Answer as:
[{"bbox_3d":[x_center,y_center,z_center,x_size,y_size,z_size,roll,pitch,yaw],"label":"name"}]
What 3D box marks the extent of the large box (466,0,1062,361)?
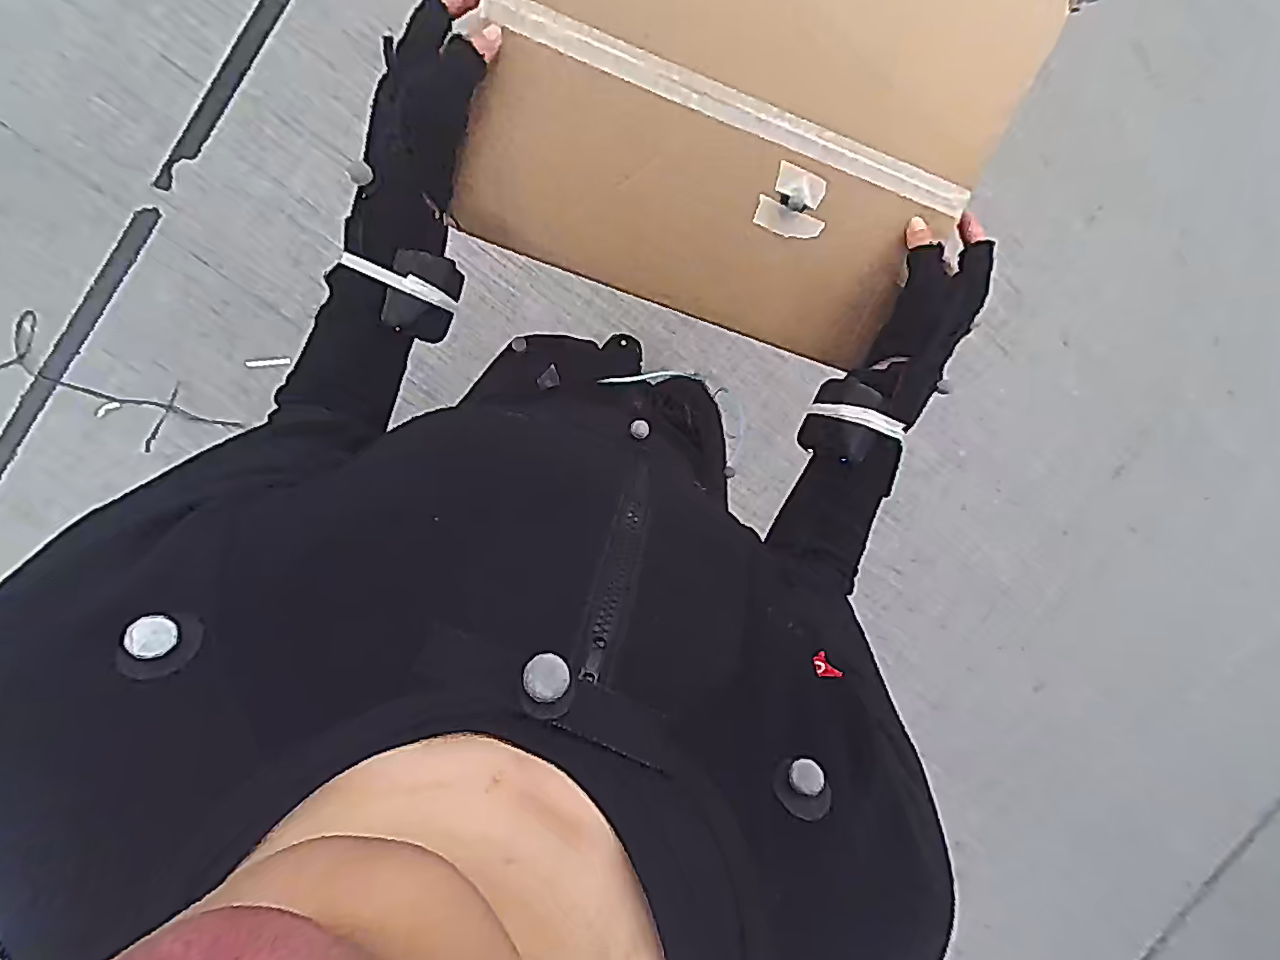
[{"bbox_3d":[0.078,-0.367,0.564,0.408,0.320,0.320,17,118,-10],"label":"large box"}]
